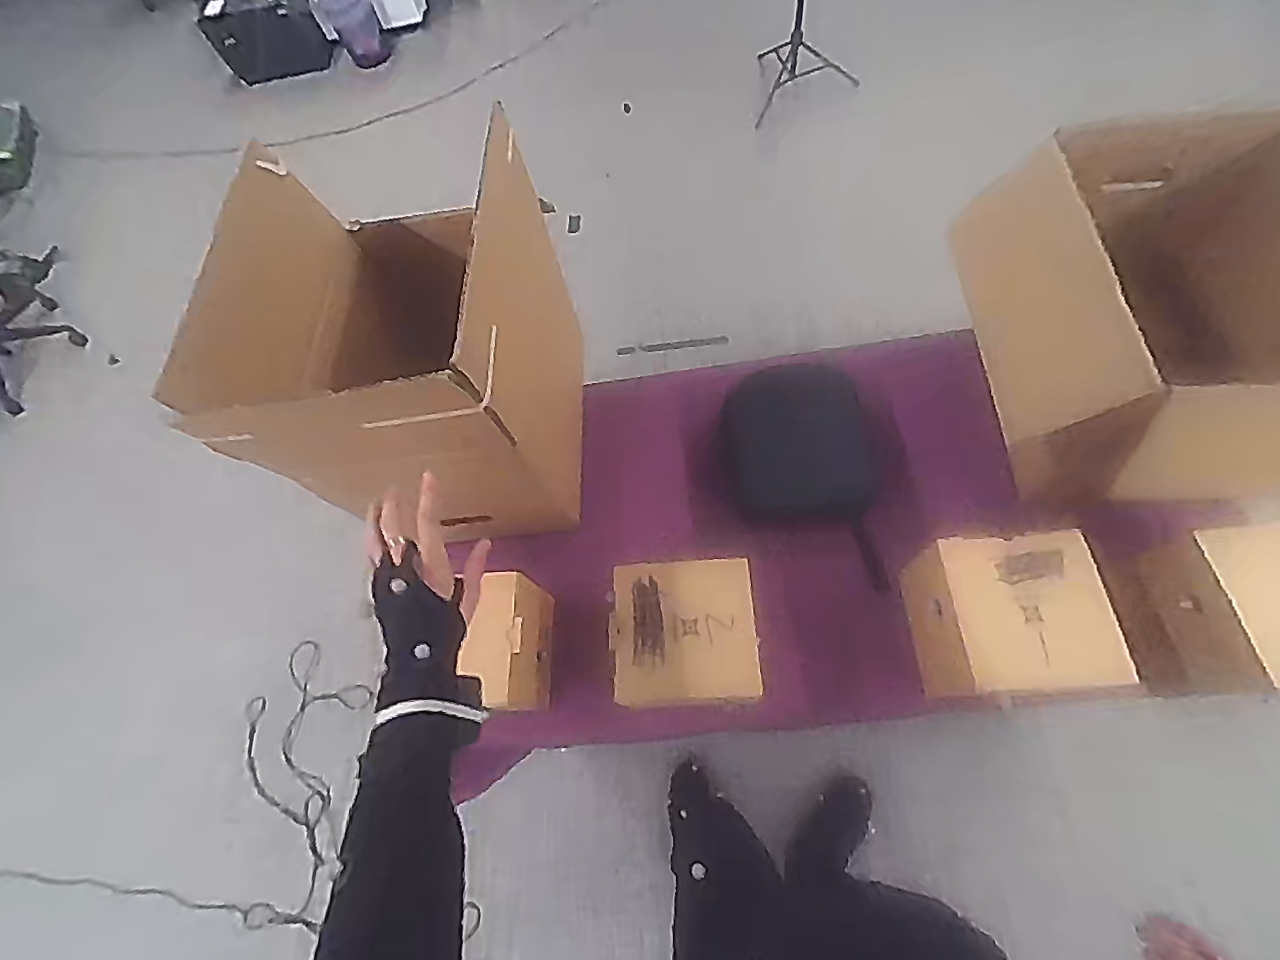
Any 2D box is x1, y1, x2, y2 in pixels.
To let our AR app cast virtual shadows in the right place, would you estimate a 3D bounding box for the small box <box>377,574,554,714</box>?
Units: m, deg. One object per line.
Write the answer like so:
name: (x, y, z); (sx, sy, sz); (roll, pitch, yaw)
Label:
small box: (-0.233, 0.239, 0.767); (0.179, 0.176, 0.168); (-5, 65, 6)
